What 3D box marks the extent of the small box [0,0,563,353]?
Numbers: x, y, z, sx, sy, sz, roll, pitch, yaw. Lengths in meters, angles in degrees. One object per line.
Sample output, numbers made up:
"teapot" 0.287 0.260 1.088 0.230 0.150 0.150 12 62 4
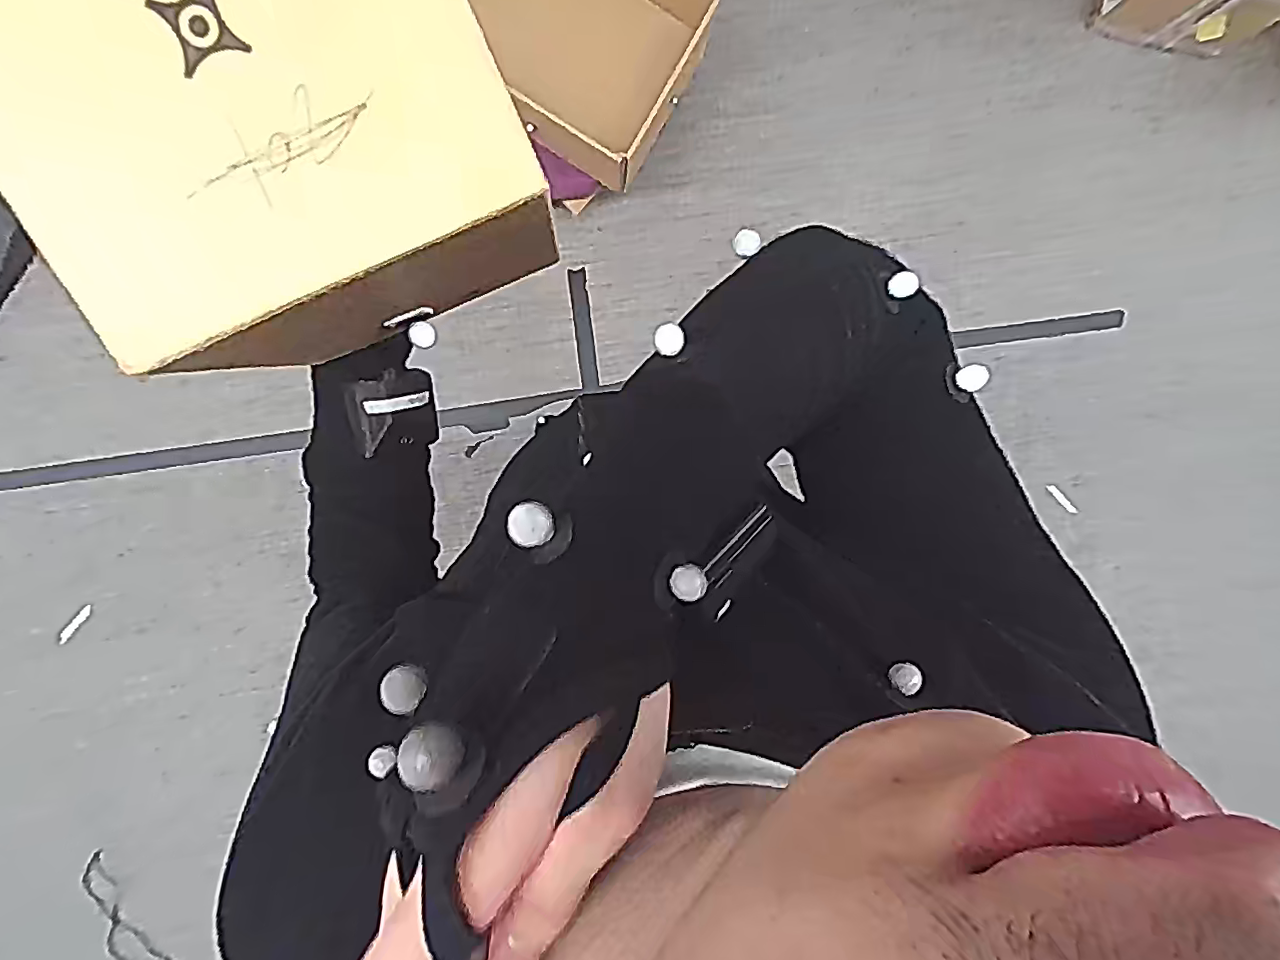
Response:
"small box" -0.146 -0.172 0.256 0.168 0.176 0.179 -24 106 0
